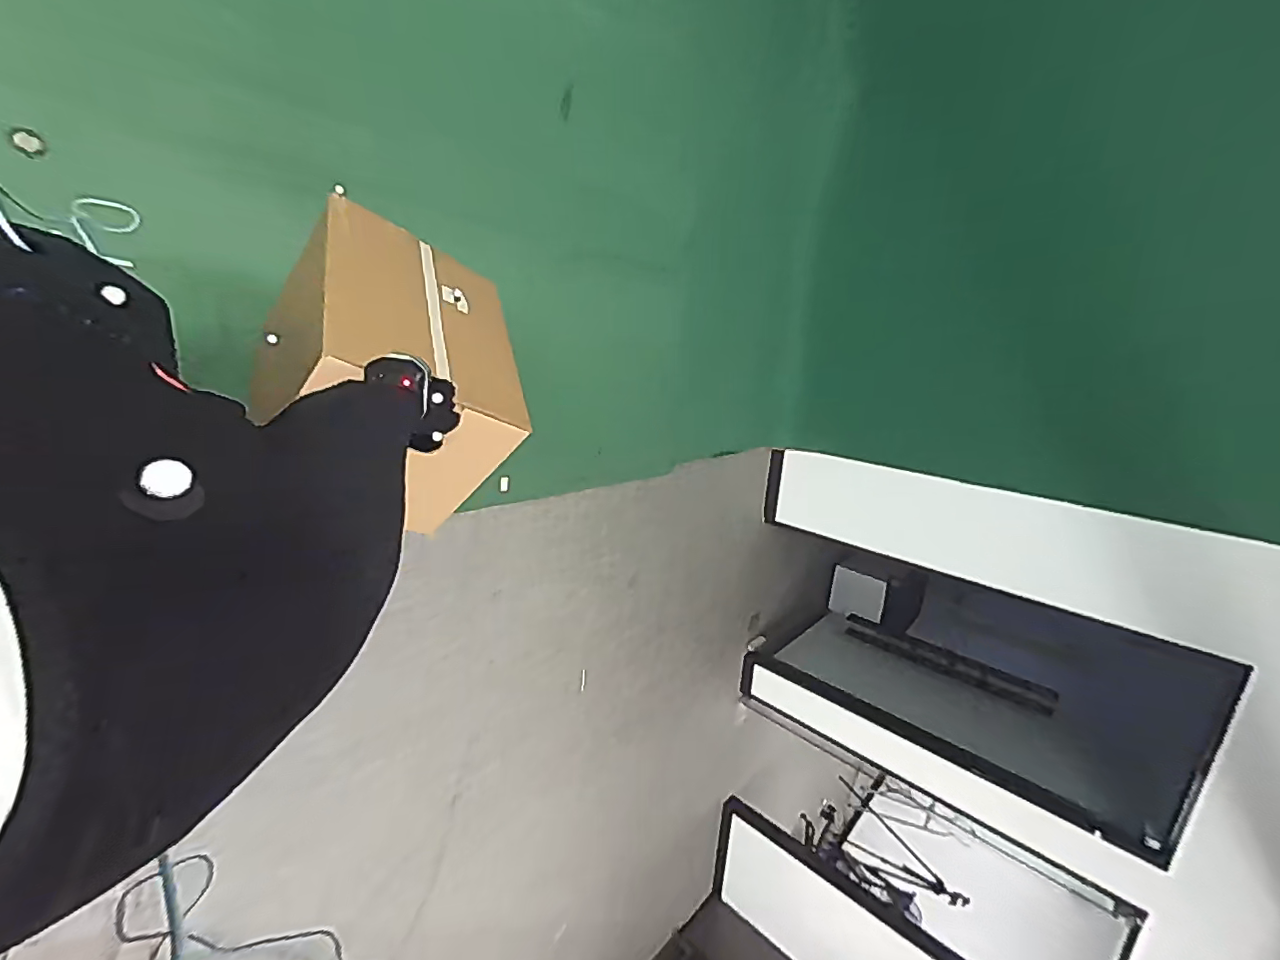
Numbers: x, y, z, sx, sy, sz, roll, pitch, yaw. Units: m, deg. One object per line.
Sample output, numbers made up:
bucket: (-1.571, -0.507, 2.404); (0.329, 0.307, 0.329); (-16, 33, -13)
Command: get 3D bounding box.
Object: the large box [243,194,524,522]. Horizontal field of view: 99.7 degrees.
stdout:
large box: (-0.450, -0.189, 0.943); (0.320, 0.408, 0.320); (-40, 142, 26)
